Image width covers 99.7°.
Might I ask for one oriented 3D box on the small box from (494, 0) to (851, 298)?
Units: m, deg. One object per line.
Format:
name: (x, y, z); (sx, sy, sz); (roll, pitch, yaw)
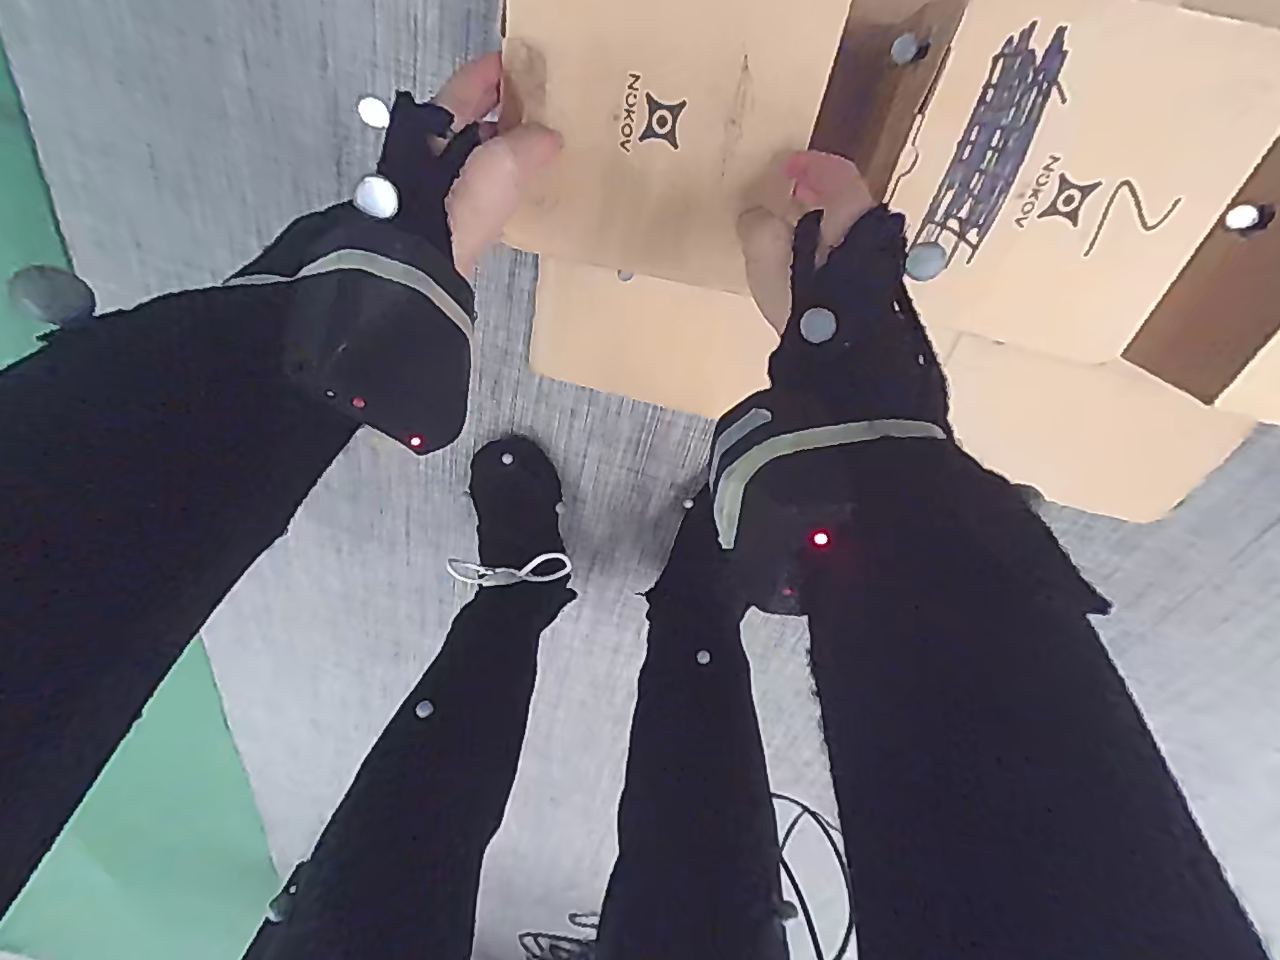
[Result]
small box: (0.011, -0.243, 0.370); (0.179, 0.176, 0.168); (10, 123, -4)
